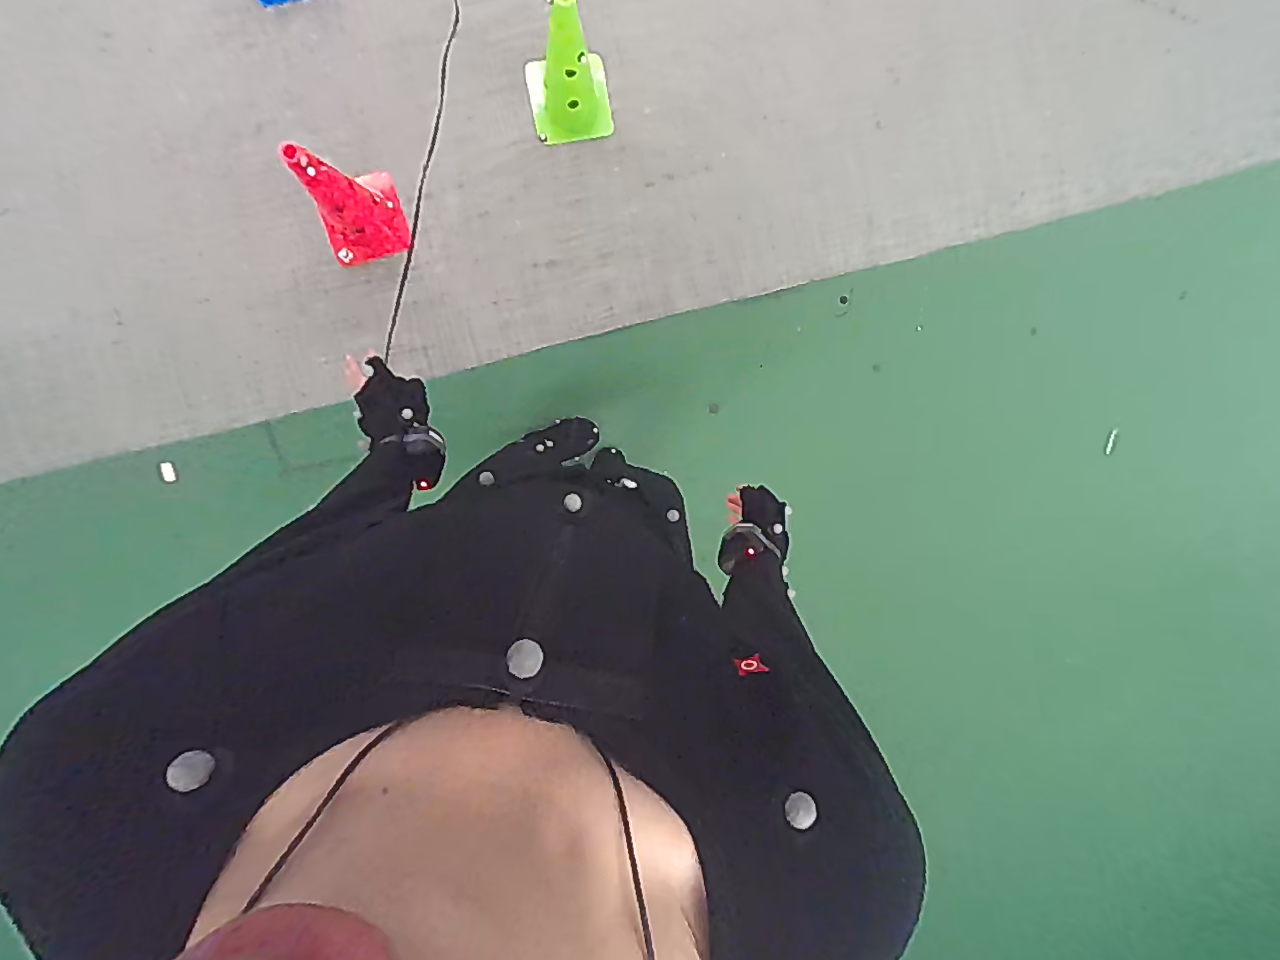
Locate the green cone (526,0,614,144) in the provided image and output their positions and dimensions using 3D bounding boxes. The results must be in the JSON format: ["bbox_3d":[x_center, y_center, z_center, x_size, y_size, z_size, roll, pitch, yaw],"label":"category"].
[{"bbox_3d":[-0.161,-0.964,1.221,0.200,0.368,0.202,-13,97,-4],"label":"green cone"}]
